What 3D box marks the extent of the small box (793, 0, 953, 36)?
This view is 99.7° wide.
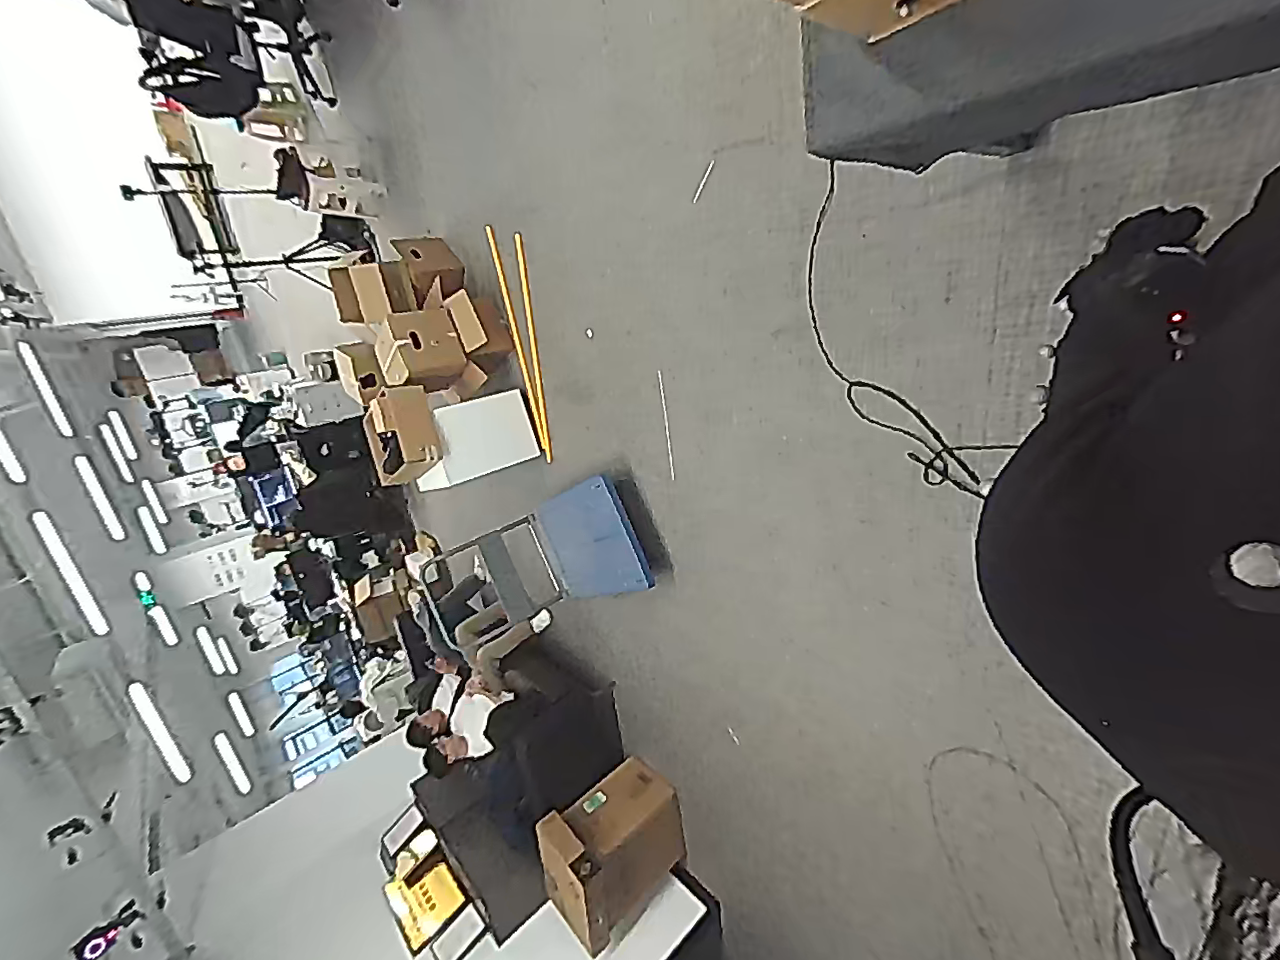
[{"bbox_3d":[0.265,-0.594,0.540,0.168,0.176,0.179,11,117,47],"label":"small box"}]
